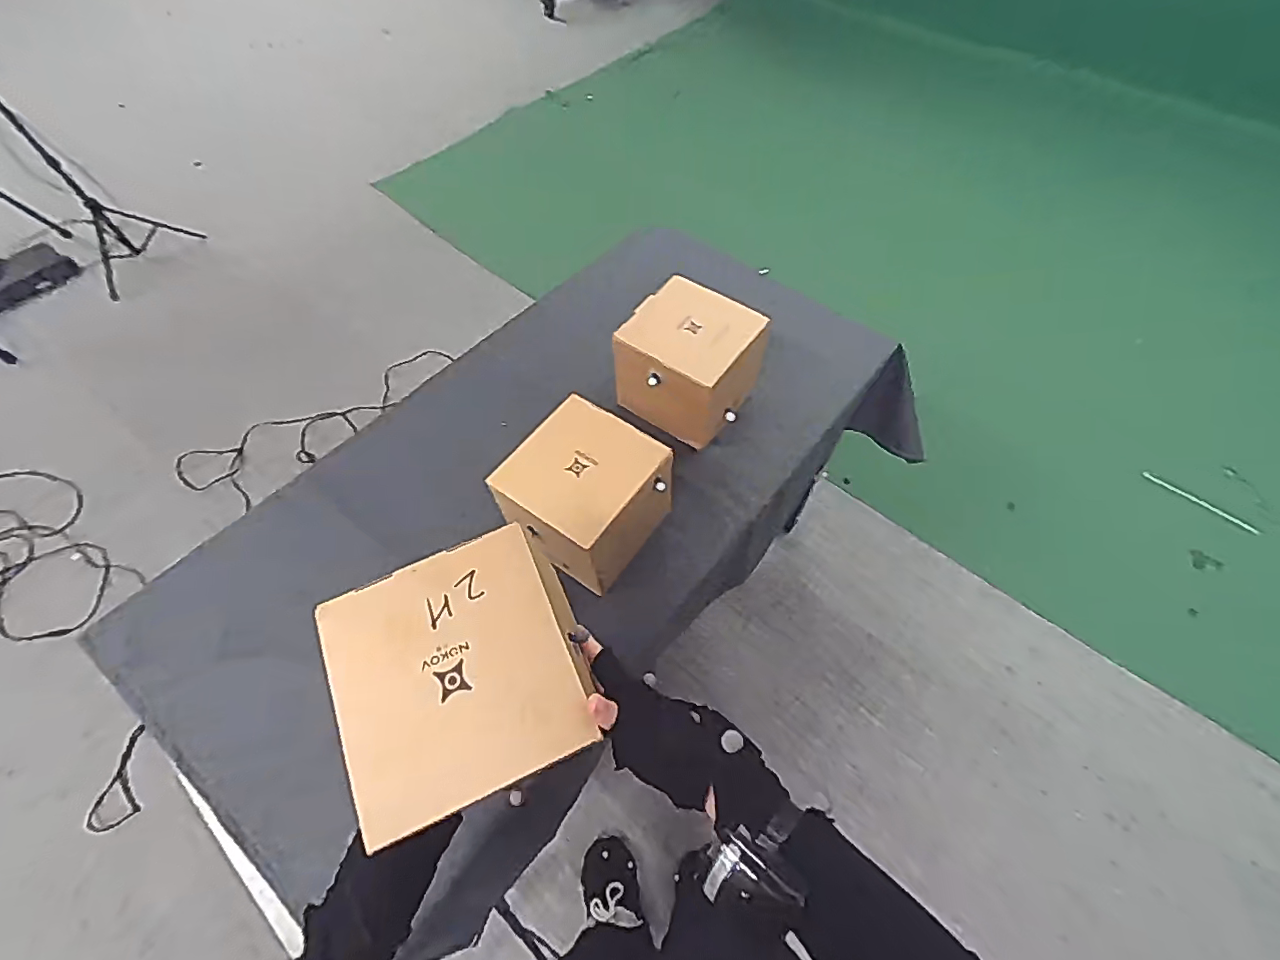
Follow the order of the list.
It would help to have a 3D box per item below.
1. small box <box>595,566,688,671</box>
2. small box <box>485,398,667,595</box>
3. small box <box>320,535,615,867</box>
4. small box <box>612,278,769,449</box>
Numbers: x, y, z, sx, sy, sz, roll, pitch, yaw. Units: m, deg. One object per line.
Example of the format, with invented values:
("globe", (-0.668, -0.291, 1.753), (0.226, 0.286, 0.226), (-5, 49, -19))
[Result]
("small box", (0.004, 0.358, 1.386), (0.168, 0.176, 0.179), (34, 67, 19))
("small box", (-0.074, 0.029, 0.741), (0.168, 0.176, 0.179), (31, 64, 19))
("small box", (-0.128, 0.174, 0.455), (0.168, 0.176, 0.179), (-22, 68, -8))
("small box", (0.075, -0.179, 0.860), (0.179, 0.176, 0.168), (33, 66, 19))
